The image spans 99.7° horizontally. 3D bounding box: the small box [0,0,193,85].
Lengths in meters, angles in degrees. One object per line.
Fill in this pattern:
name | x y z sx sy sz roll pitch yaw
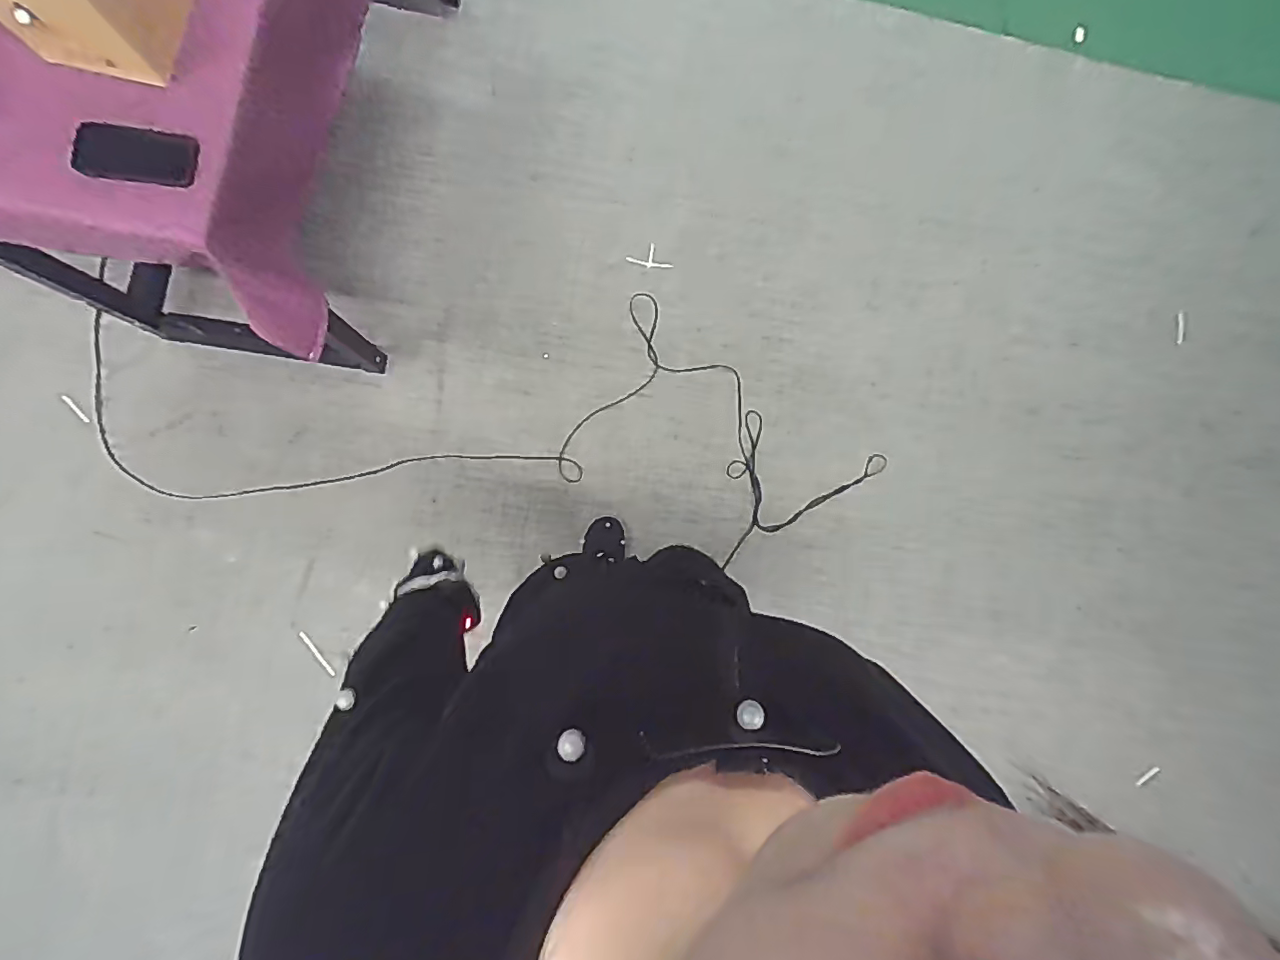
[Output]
small box | -0.729 -0.661 0.694 0.168 0.176 0.179 10 83 -5
